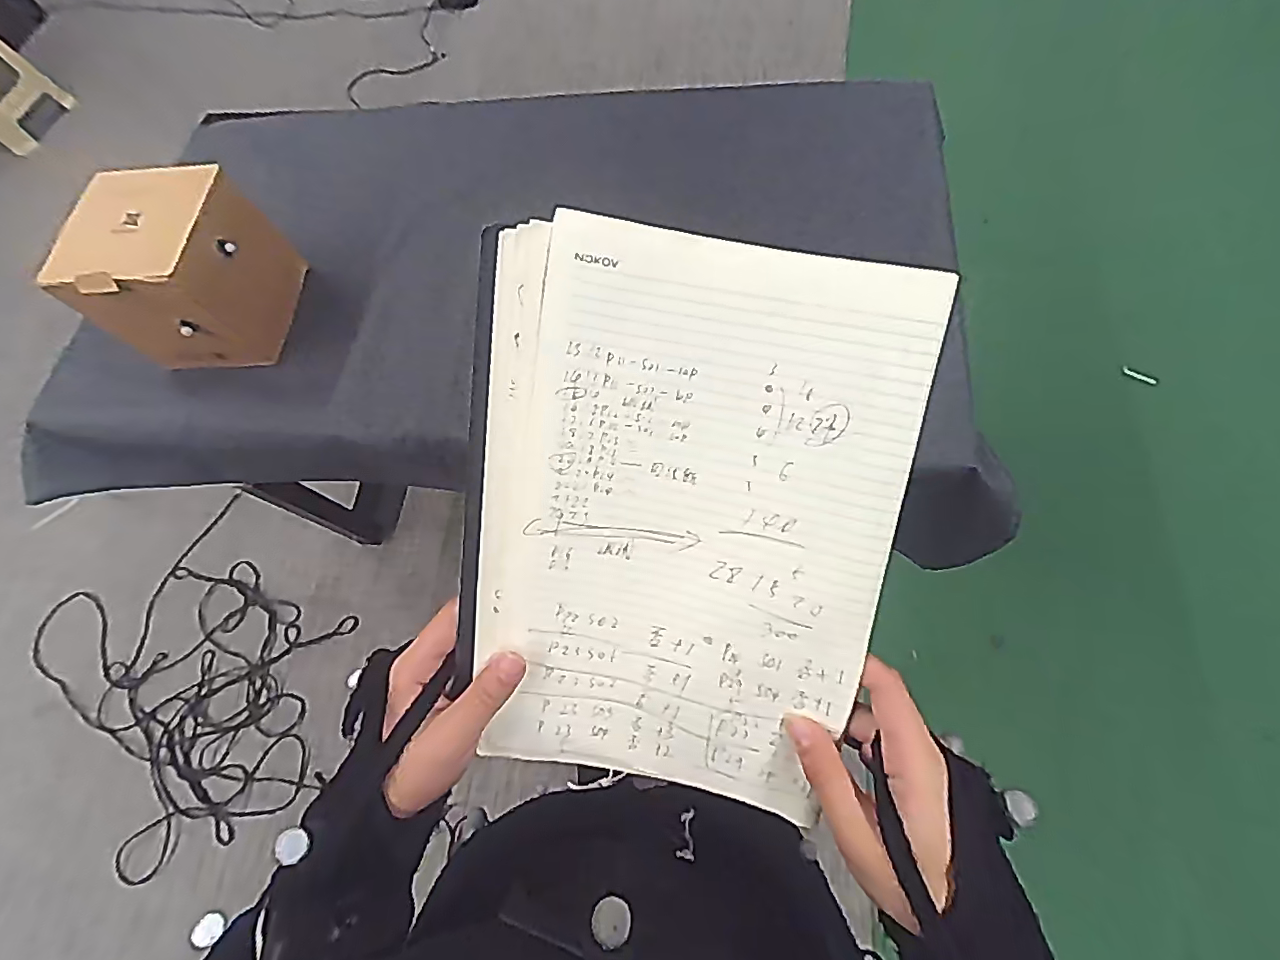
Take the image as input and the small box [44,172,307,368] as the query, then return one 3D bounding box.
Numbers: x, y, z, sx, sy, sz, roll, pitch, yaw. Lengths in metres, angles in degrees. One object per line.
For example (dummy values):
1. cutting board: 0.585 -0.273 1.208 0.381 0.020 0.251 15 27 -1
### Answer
1. small box: -0.571 -0.258 0.697 0.168 0.176 0.179 -1 66 5
